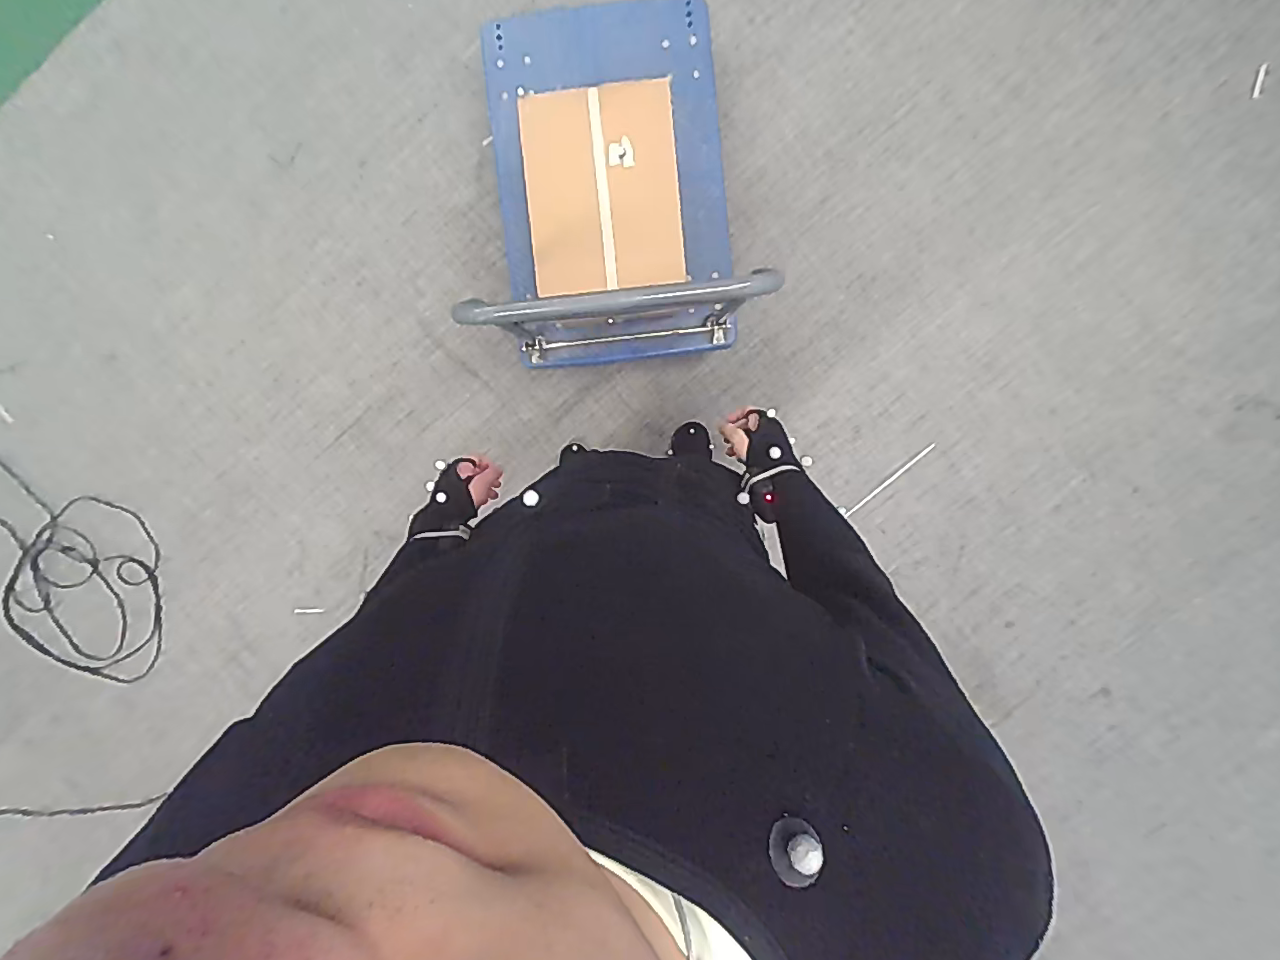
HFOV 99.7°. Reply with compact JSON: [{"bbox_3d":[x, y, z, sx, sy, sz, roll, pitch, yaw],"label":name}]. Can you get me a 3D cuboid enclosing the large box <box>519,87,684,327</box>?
[{"bbox_3d":[-0.074,-0.605,1.273,0.320,0.320,0.408,-5,94,1],"label":"large box"}]
